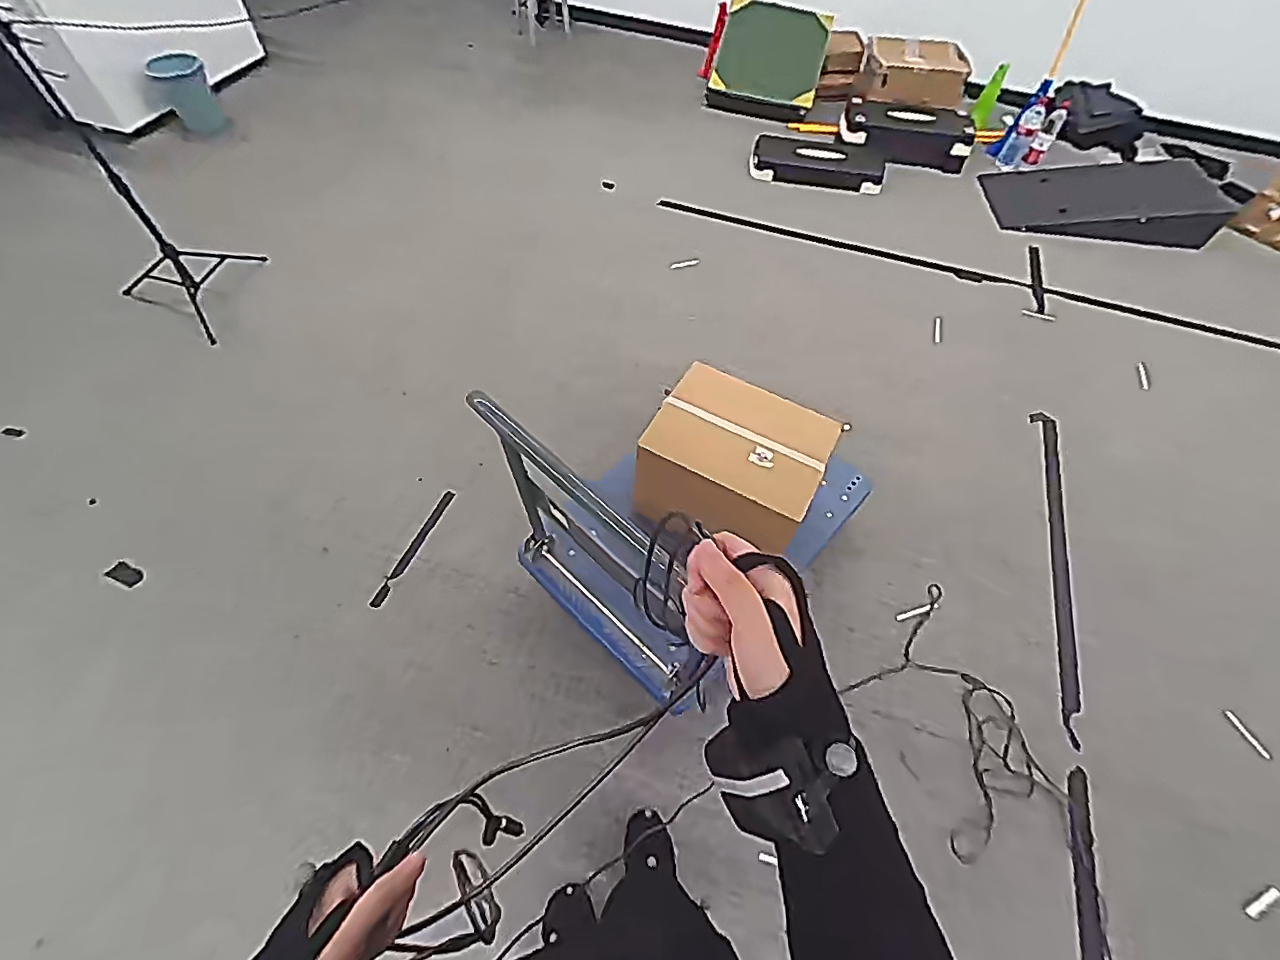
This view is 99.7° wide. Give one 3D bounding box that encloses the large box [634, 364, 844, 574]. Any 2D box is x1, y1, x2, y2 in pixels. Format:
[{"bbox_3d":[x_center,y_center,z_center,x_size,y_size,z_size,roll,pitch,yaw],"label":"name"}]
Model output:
[{"bbox_3d":[0.233,-0.024,1.380,0.408,0.320,0.320,27,61,13],"label":"large box"}]
